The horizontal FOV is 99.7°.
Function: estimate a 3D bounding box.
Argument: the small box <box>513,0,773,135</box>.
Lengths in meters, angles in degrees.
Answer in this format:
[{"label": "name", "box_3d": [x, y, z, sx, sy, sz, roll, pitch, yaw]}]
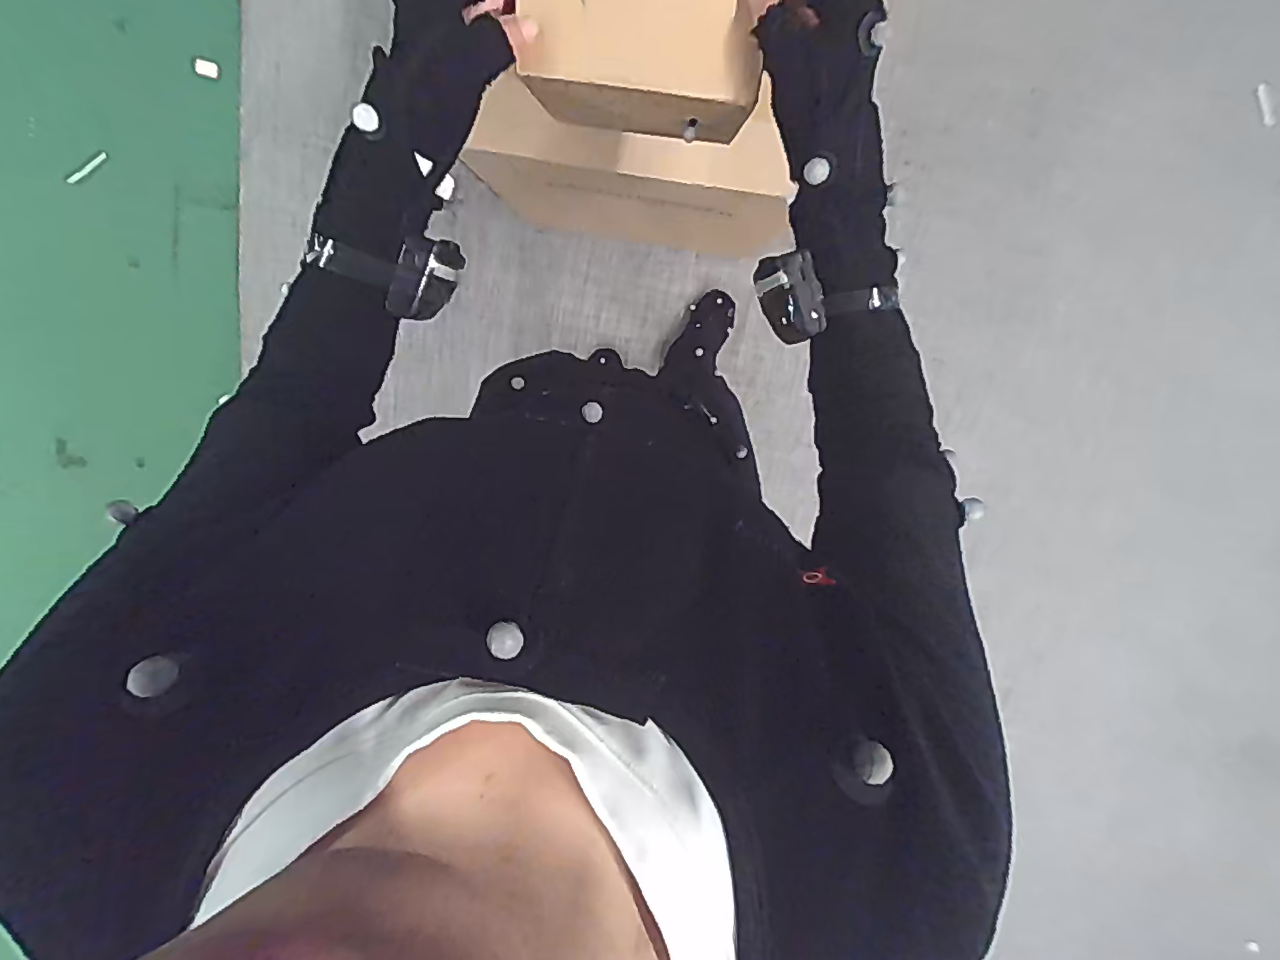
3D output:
[{"label": "small box", "box_3d": [0.008, -0.386, 0.423, 0.179, 0.176, 0.168, 6, 112, 2]}]
